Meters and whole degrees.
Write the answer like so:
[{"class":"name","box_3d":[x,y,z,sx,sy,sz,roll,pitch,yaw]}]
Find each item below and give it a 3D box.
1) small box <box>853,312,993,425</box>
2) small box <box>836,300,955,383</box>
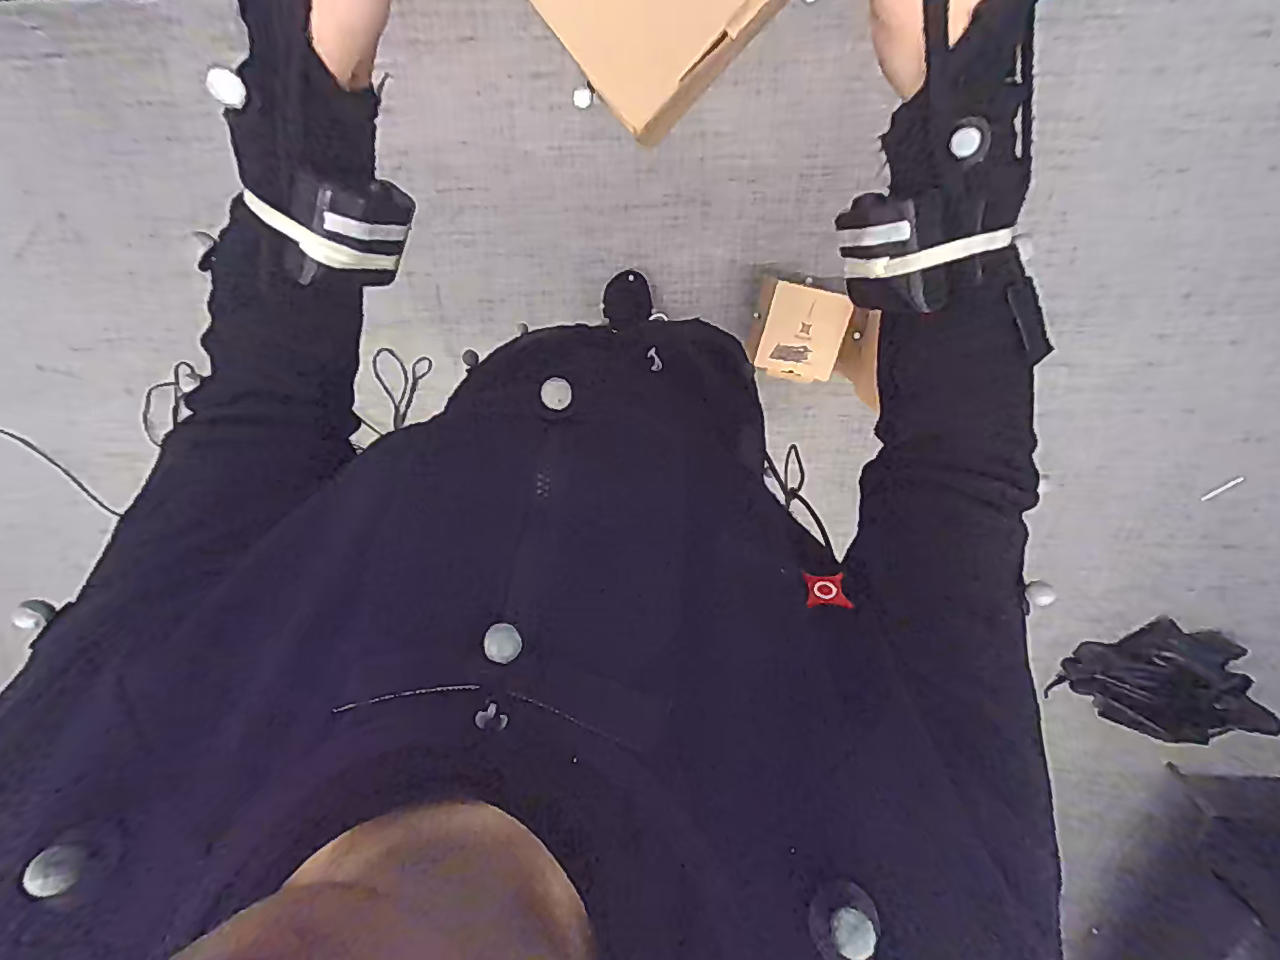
[{"class":"small box","box_3d":[0.528,-0.218,1.041,0.168,0.176,0.179,4,113,1]},{"class":"small box","box_3d":[0.547,-0.295,1.184,0.168,0.176,0.179,4,113,0]}]
